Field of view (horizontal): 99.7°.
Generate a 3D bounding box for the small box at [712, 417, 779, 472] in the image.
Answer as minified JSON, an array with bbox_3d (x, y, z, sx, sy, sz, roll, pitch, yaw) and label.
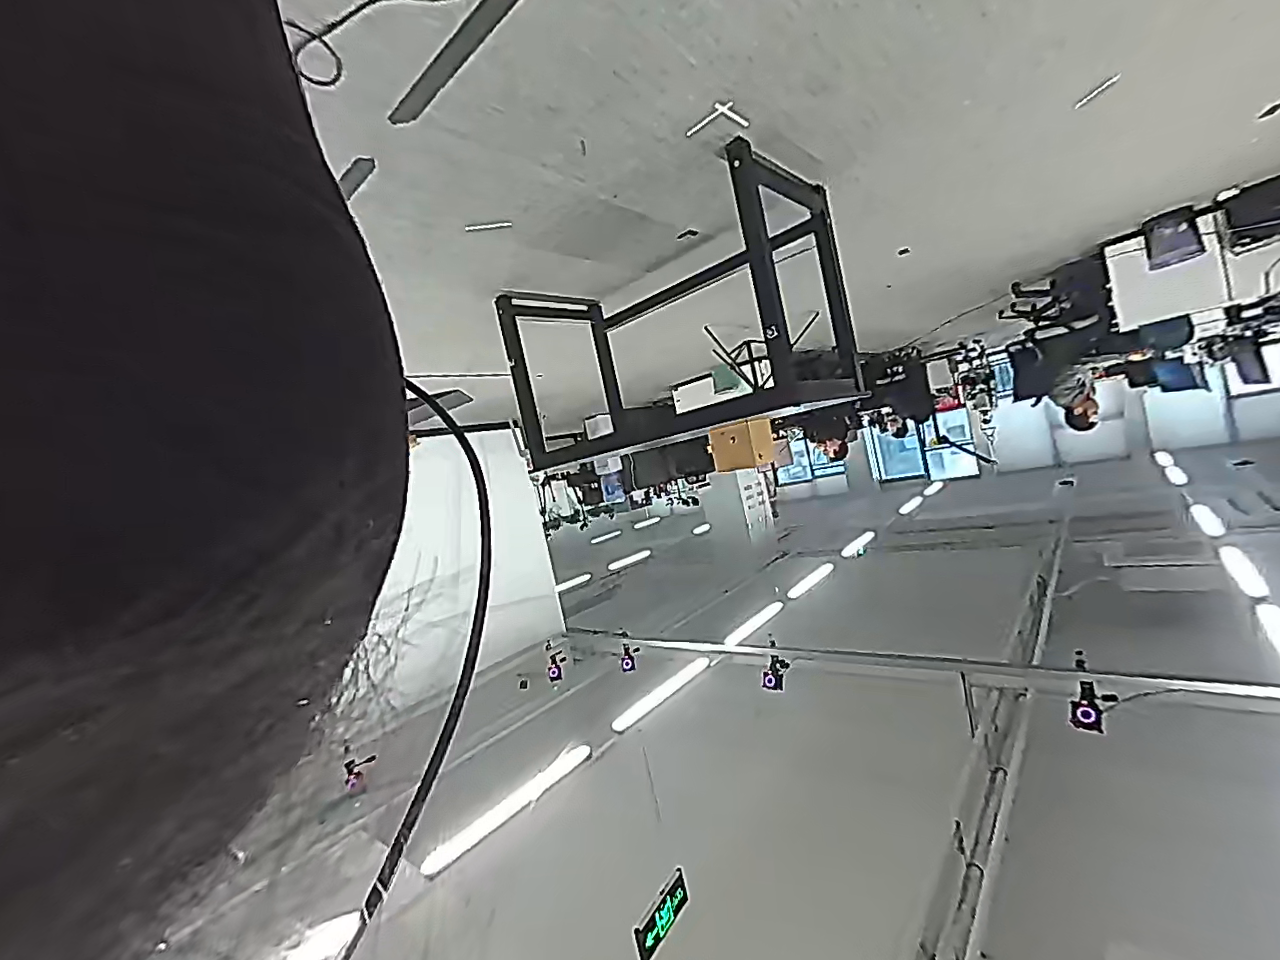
[{"bbox_3d":[0.387,-0.134,1.980,0.168,0.176,0.179,-12,-179,41],"label":"small box"}]
